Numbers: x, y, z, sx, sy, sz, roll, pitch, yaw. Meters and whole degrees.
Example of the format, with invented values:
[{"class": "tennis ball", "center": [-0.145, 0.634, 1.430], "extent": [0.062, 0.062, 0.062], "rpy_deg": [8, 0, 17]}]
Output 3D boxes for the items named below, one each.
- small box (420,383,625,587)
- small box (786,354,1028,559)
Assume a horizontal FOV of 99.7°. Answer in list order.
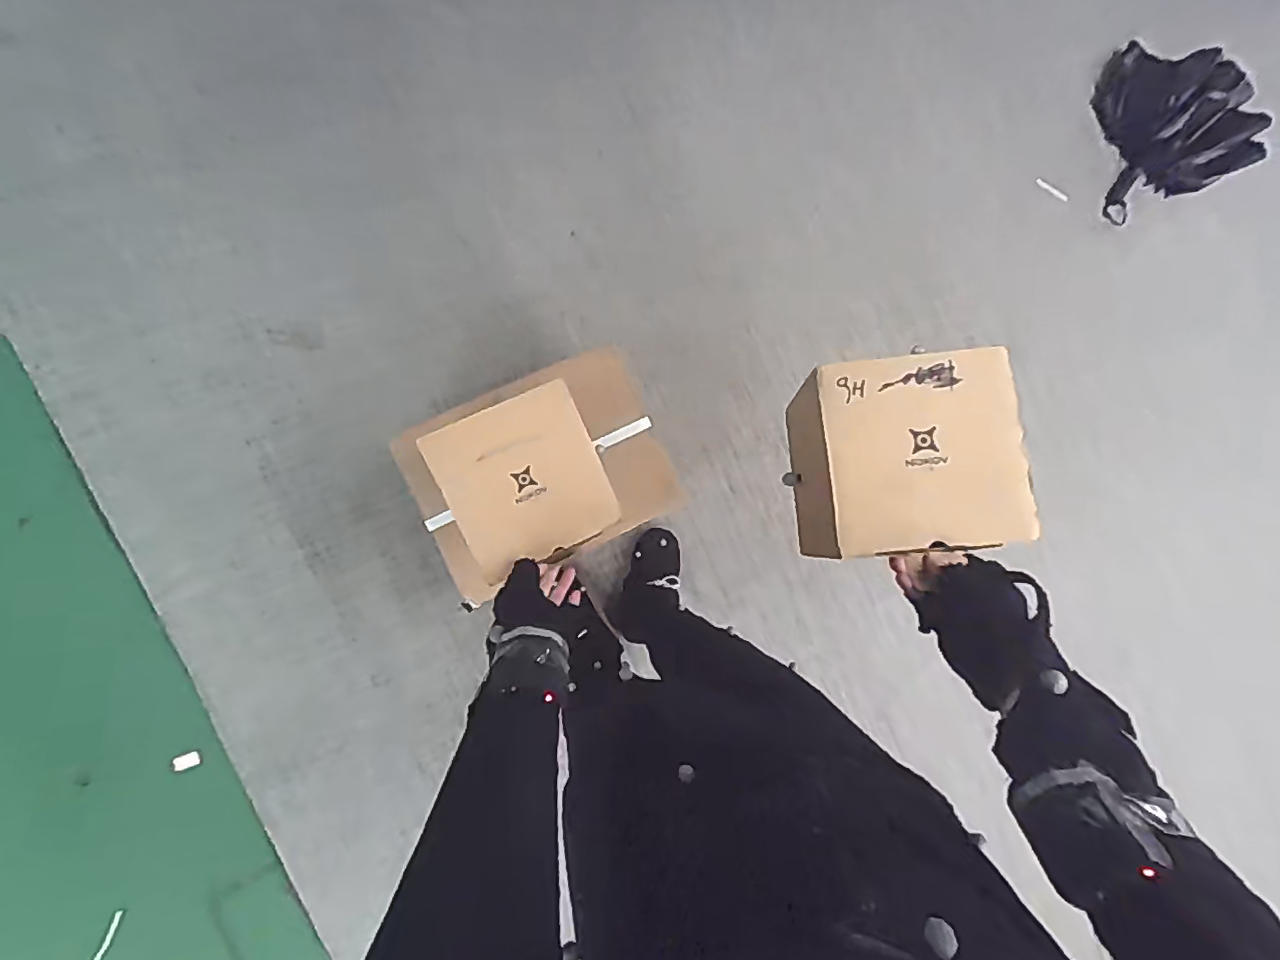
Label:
[{"class": "small box", "center": [-0.137, -0.002, 0.656], "extent": [0.168, 0.176, 0.179], "rpy_deg": [-26, 99, -10]}, {"class": "small box", "center": [0.255, -0.014, 0.559], "extent": [0.168, 0.176, 0.179], "rpy_deg": [-4, 83, 4]}]
